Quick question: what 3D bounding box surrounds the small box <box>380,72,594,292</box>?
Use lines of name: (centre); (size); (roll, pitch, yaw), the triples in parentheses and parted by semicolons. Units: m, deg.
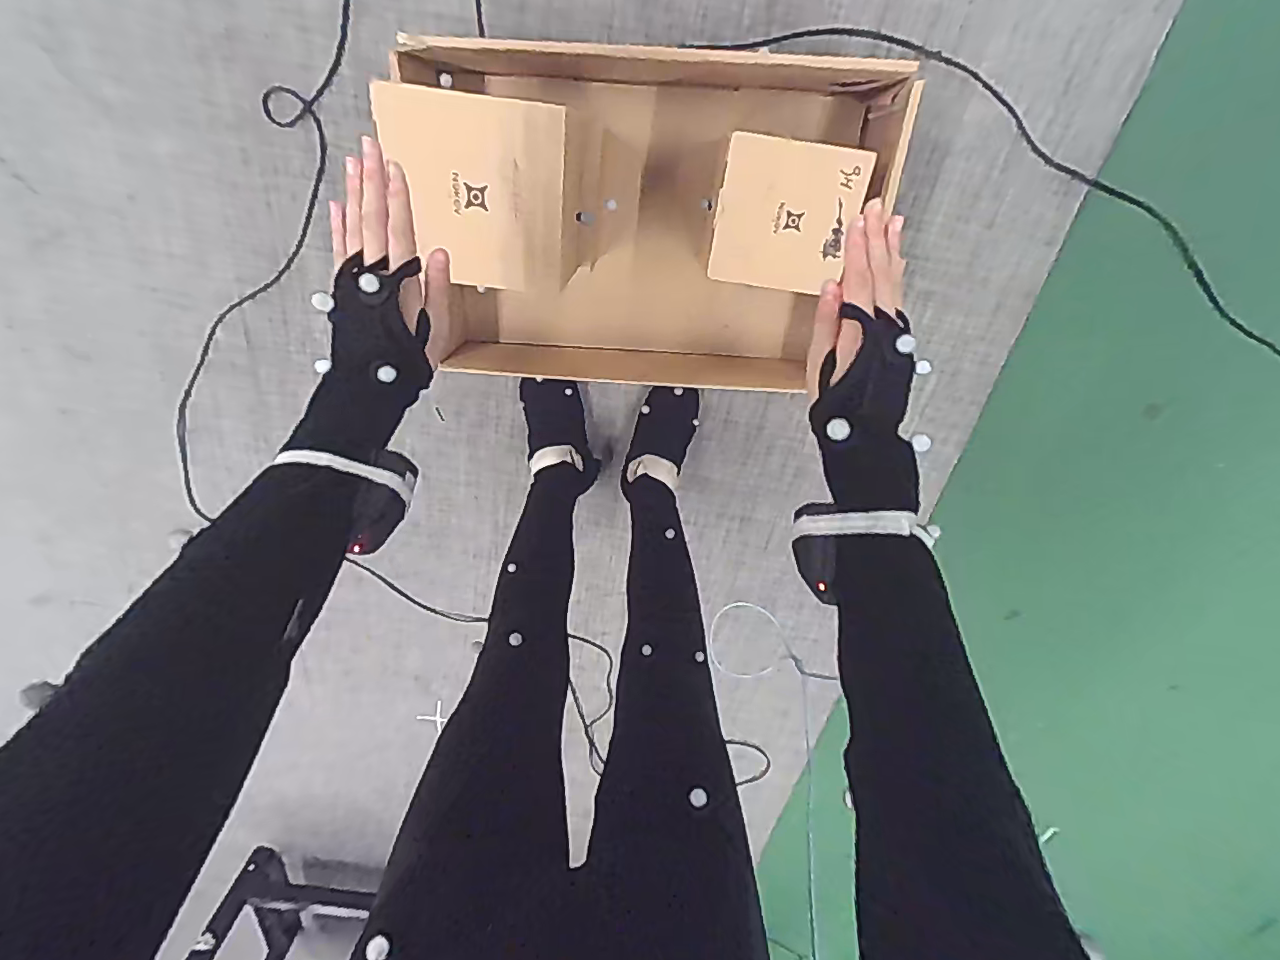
small box: (-0.151, -0.314, 0.584); (0.179, 0.176, 0.168); (7, 120, -3)

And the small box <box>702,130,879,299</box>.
small box: (0.186, -0.357, 0.734); (0.179, 0.176, 0.168); (9, 119, -2)
